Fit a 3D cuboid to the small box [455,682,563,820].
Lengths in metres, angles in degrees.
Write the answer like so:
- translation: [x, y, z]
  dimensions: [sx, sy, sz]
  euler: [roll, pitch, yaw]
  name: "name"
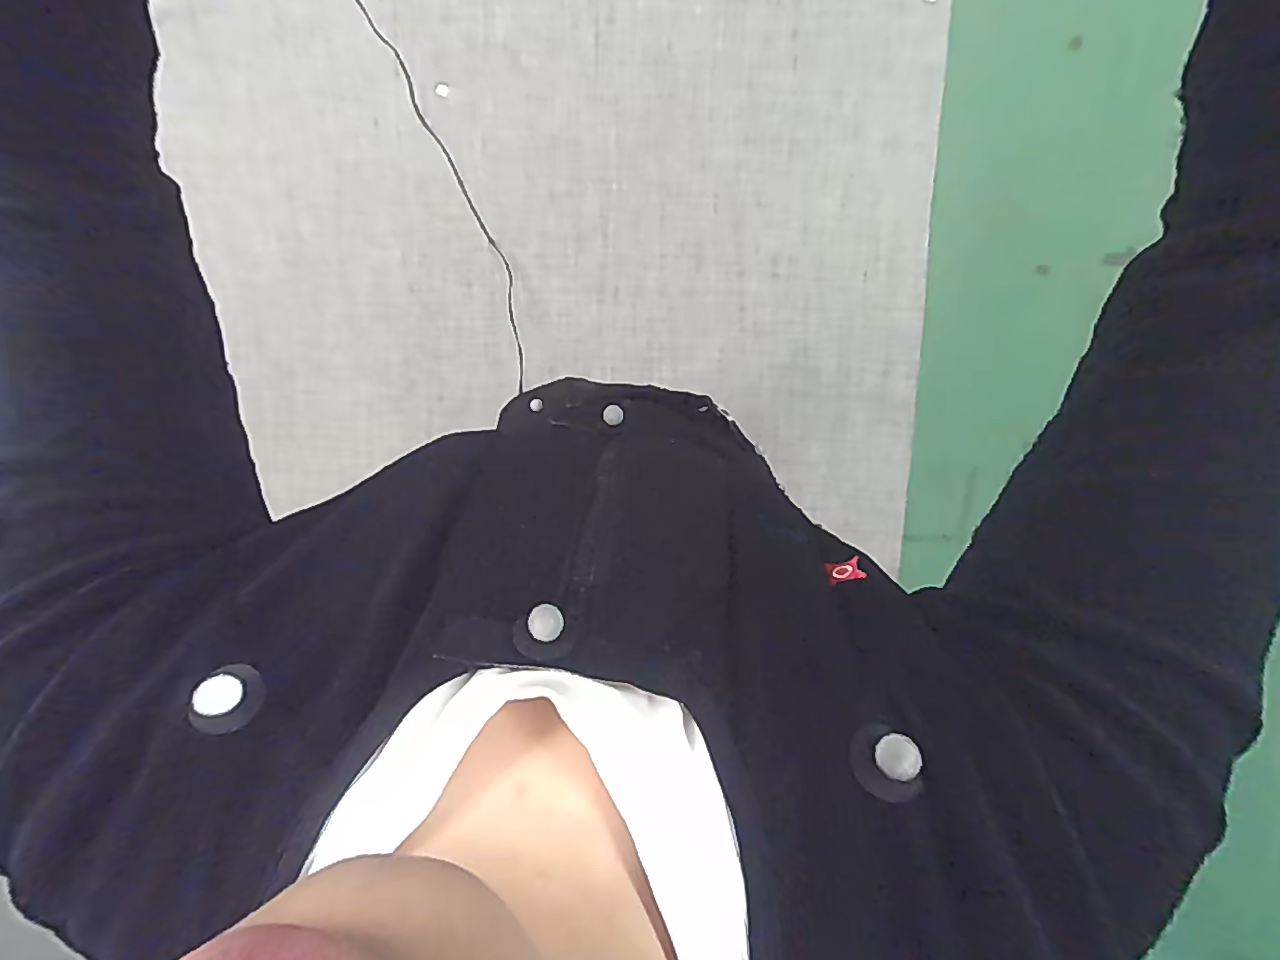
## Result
- translation: [-0.249, 0.518, 1.055]
  dimensions: [0.168, 0.176, 0.179]
  euler: [3, 100, 5]
  name: "small box"
